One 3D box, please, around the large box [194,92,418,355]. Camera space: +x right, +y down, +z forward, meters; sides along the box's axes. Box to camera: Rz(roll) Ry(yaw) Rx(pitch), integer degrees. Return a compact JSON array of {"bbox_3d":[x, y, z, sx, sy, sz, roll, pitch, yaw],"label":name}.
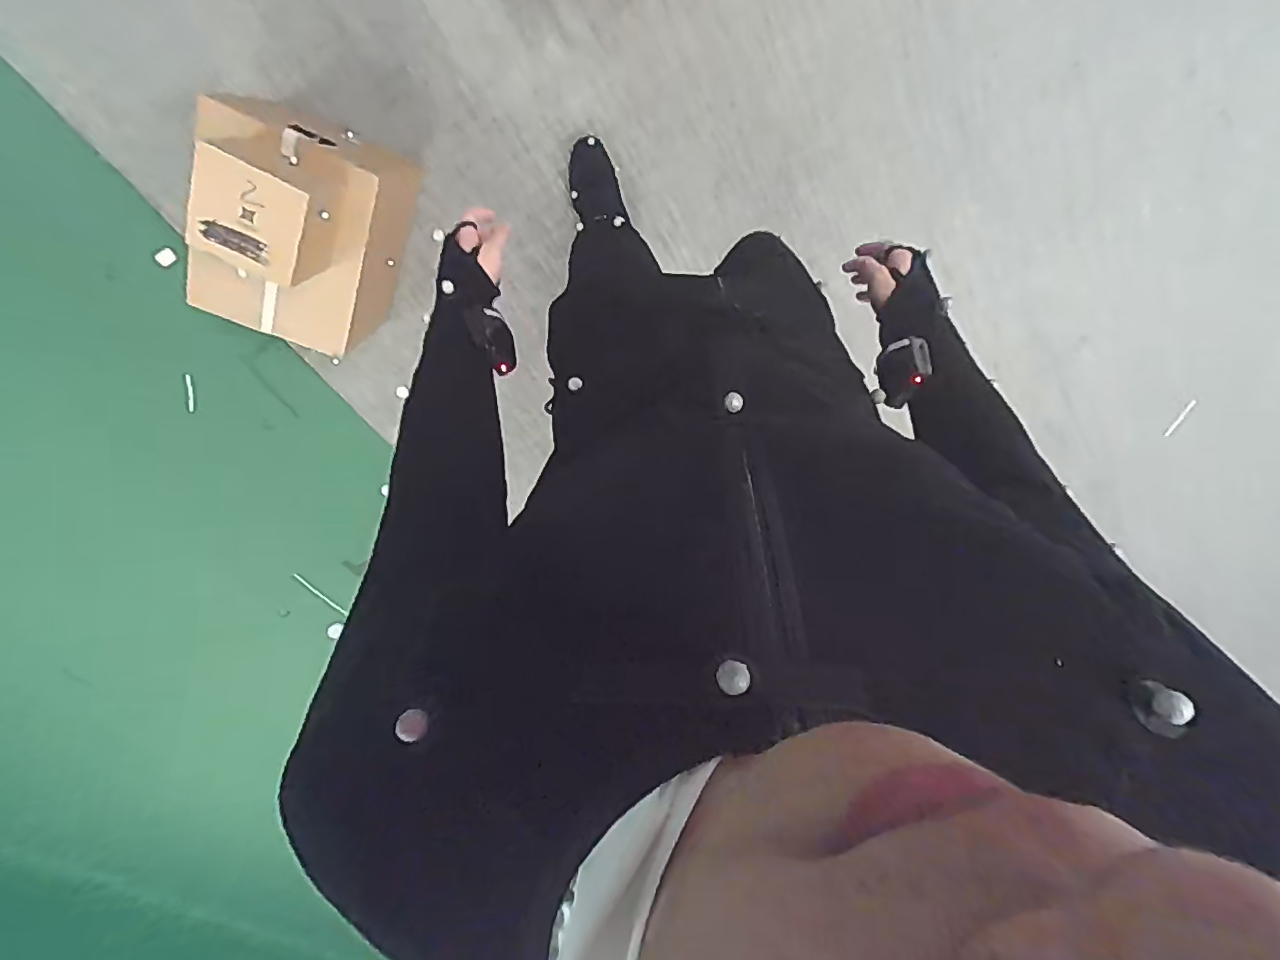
[{"bbox_3d":[-0.723,-0.563,1.201,0.320,0.320,0.408,20,120,-16],"label":"large box"}]
